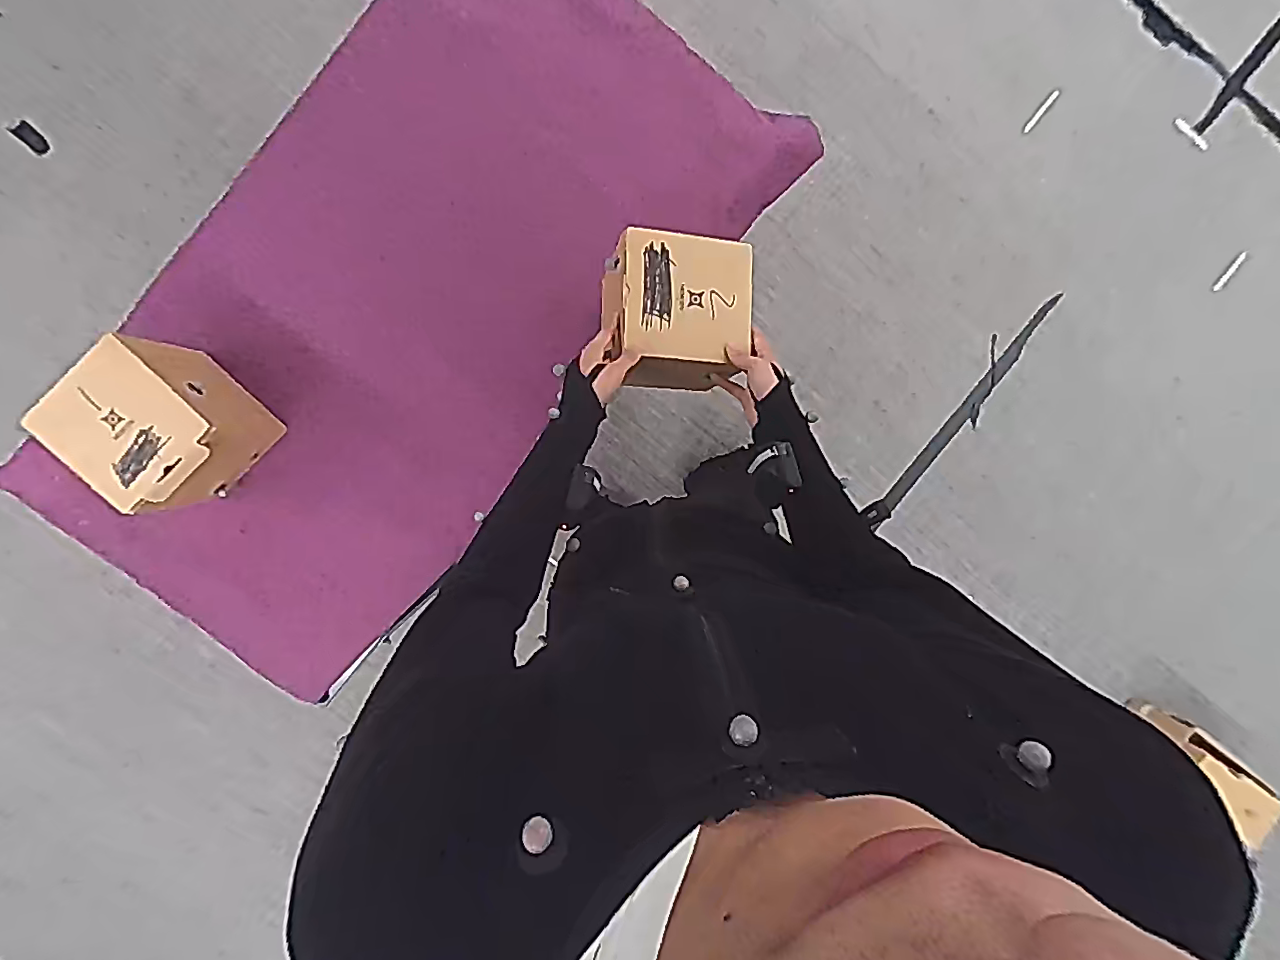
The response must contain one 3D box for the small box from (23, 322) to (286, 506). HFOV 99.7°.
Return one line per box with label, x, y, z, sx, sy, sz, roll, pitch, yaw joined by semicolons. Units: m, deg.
small box;-0.654;-0.089;0.758;0.168;0.176;0.179;-44;96;-2
